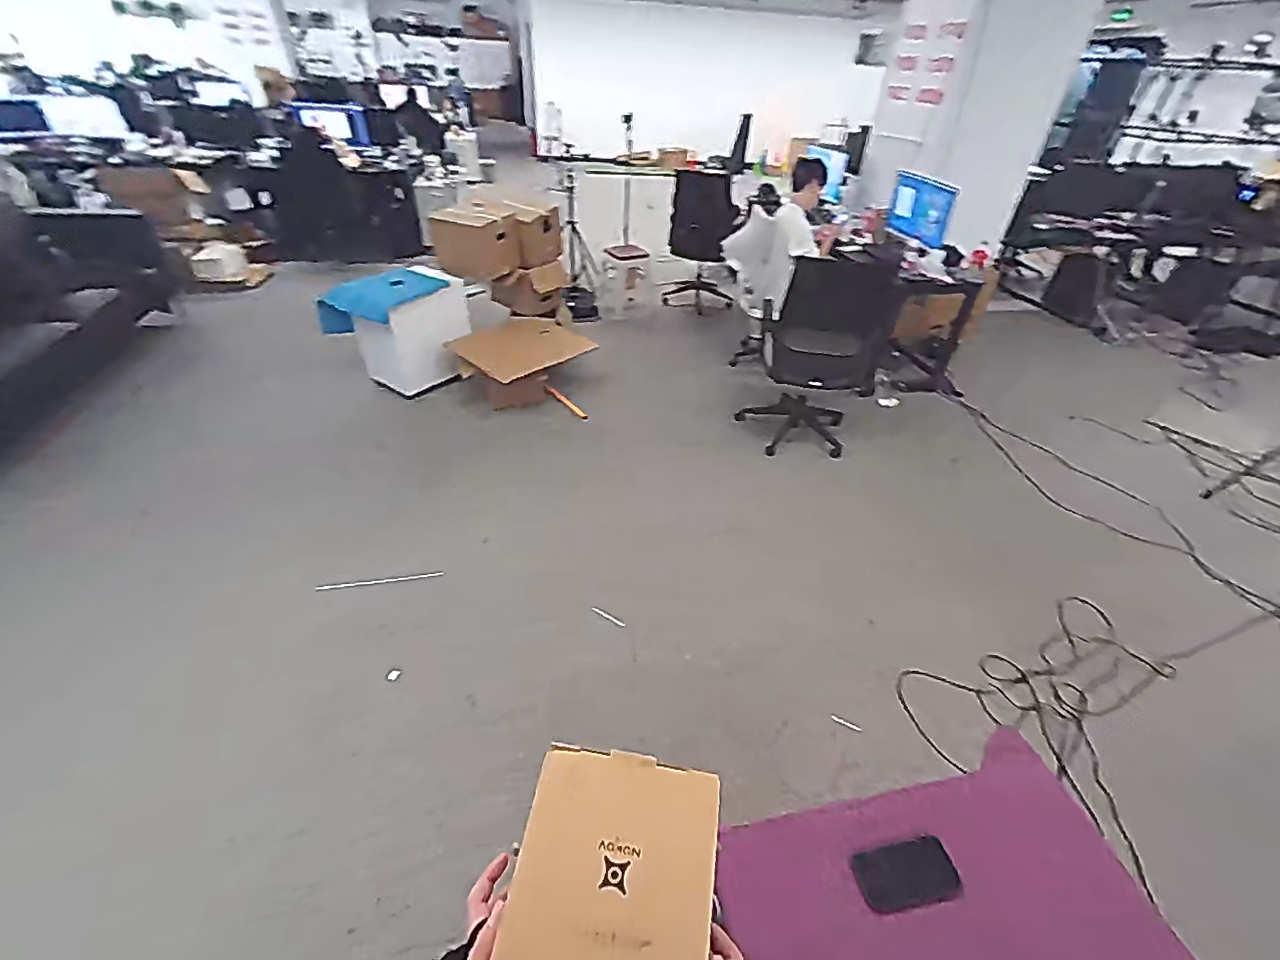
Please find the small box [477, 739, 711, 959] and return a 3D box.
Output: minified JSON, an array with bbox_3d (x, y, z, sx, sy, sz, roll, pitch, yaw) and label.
[{"bbox_3d":[-0.032,0.373,0.505,0.168,0.176,0.179,8,48,5],"label":"small box"}]
